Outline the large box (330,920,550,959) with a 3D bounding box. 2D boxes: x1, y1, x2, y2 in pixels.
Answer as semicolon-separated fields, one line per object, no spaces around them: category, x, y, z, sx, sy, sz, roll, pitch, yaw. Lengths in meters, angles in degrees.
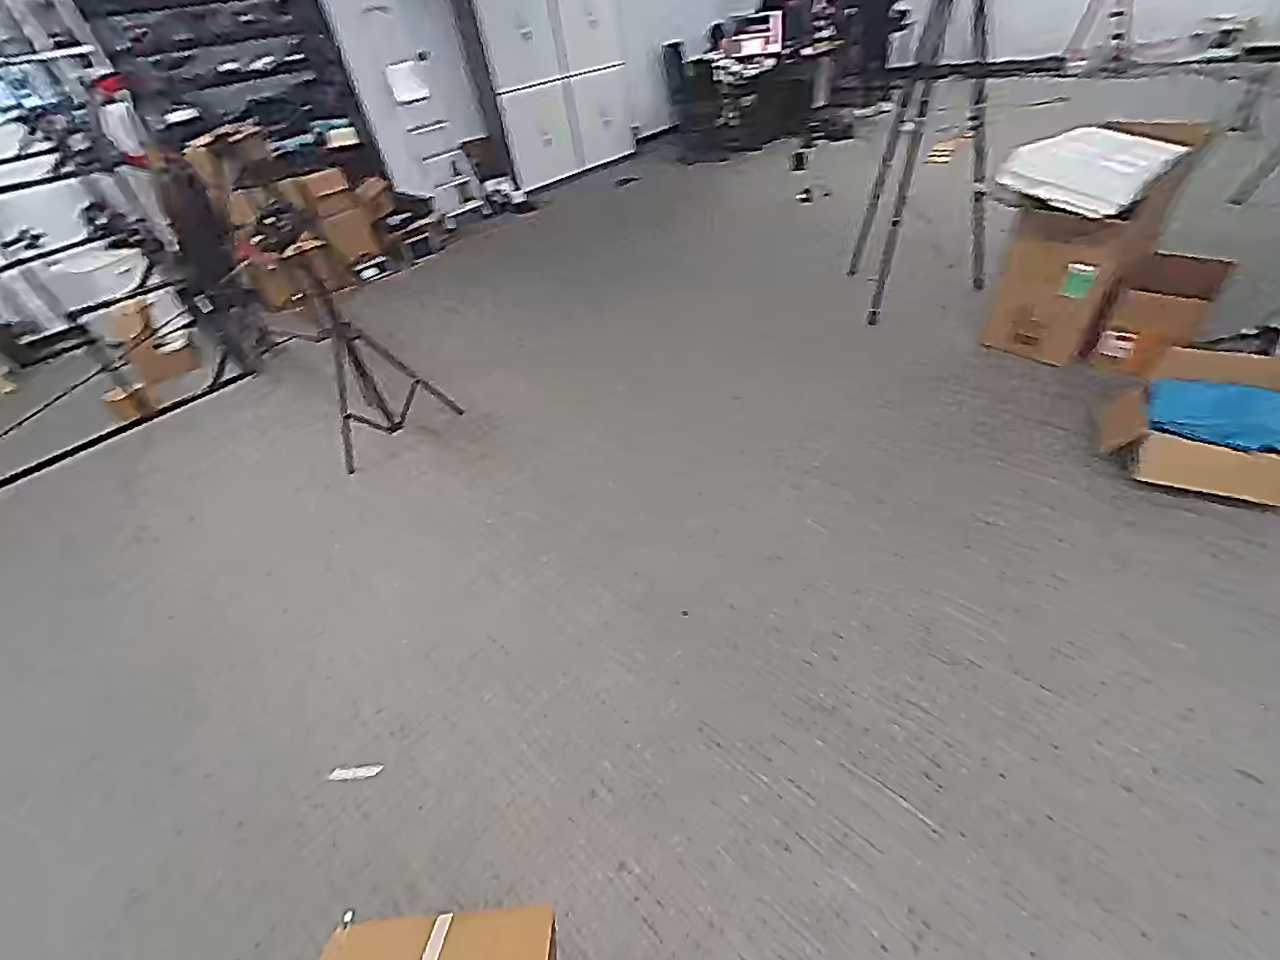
large box;-0.262;0.811;0.594;0.320;0.320;0.408;-3;0;-3
